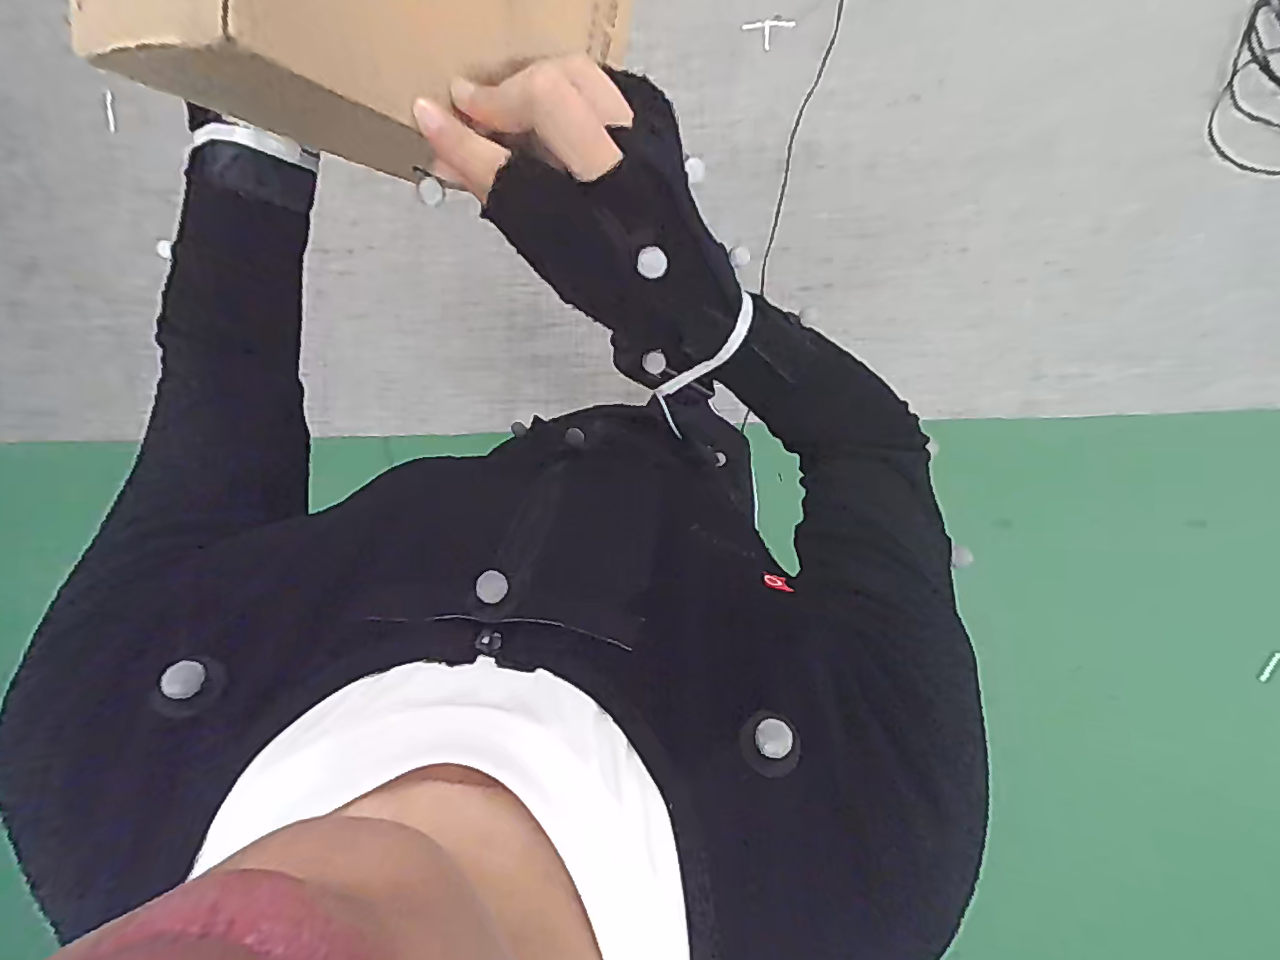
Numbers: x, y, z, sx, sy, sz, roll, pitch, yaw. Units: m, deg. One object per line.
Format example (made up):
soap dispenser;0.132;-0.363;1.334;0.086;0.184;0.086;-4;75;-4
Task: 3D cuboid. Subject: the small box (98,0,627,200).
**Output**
small box;-0.118;-0.248;0.253;0.179;0.176;0.168;26;110;29
